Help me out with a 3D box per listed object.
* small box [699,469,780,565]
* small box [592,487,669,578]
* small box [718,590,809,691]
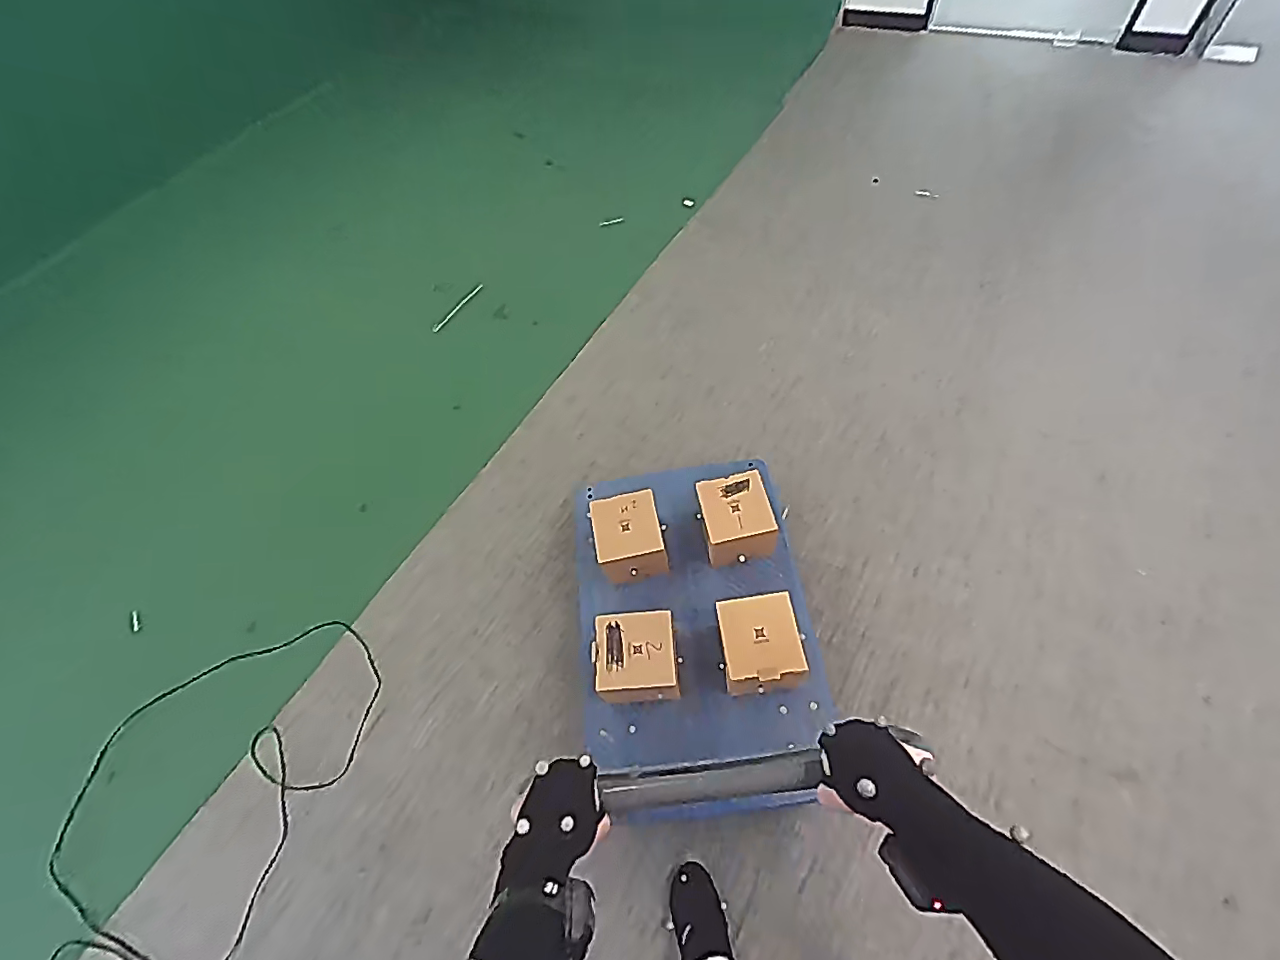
[{"bbox_3d":[0.250,0.098,1.401,0.168,0.176,0.179,-12,60,1],"label":"small box"},{"bbox_3d":[-0.022,0.145,1.411,0.168,0.176,0.179,-11,59,0],"label":"small box"},{"bbox_3d":[0.274,0.372,1.240,0.168,0.176,0.179,-9,59,3],"label":"small box"}]
